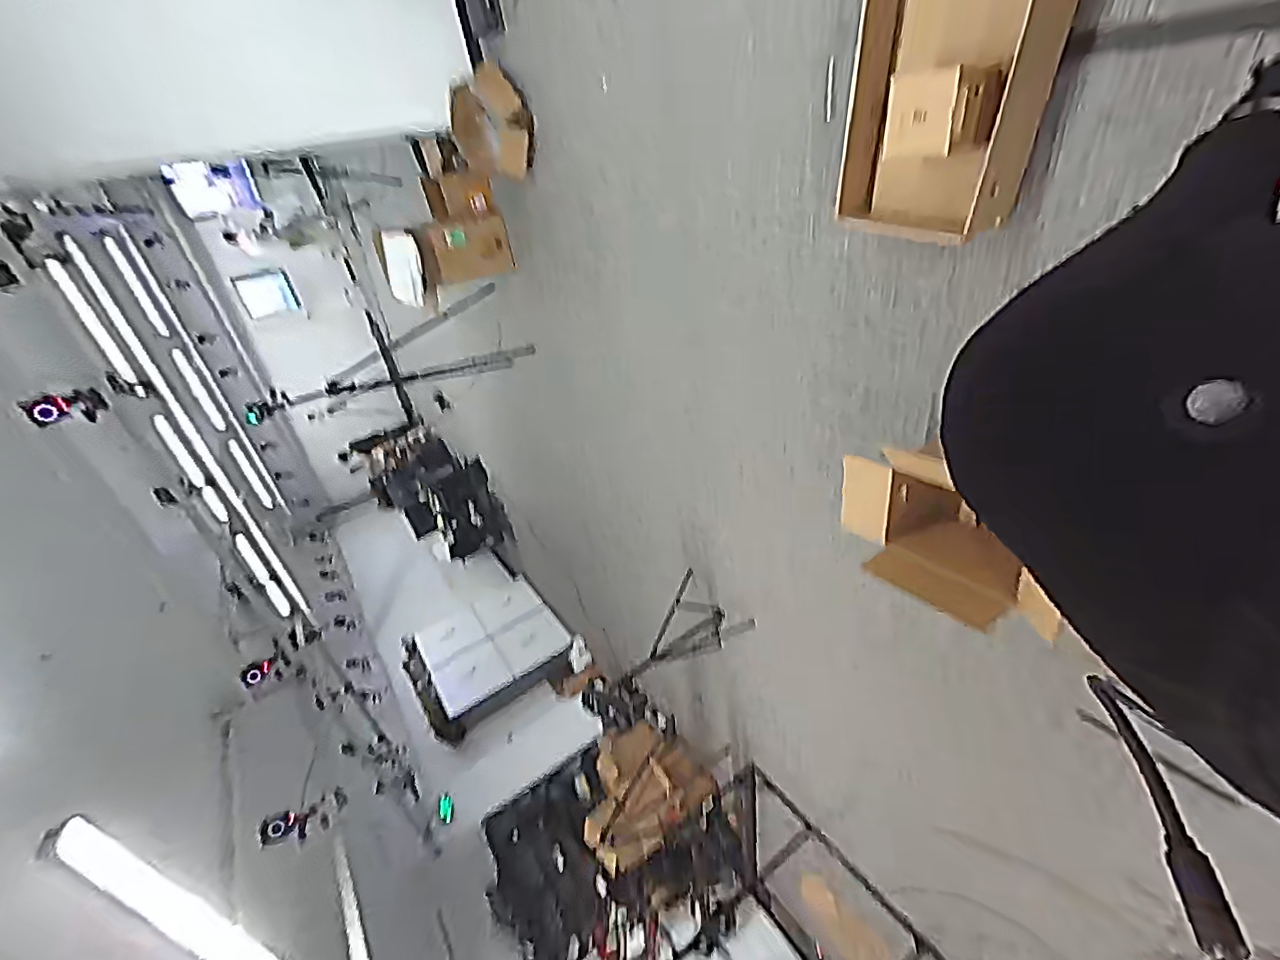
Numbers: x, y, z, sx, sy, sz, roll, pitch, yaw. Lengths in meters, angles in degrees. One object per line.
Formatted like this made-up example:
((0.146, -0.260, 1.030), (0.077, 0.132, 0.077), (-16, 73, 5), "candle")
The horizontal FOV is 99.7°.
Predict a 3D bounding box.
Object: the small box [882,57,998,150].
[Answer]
((0.723, -0.907, 1.307), (0.179, 0.176, 0.168), (34, 140, 46), "small box")
